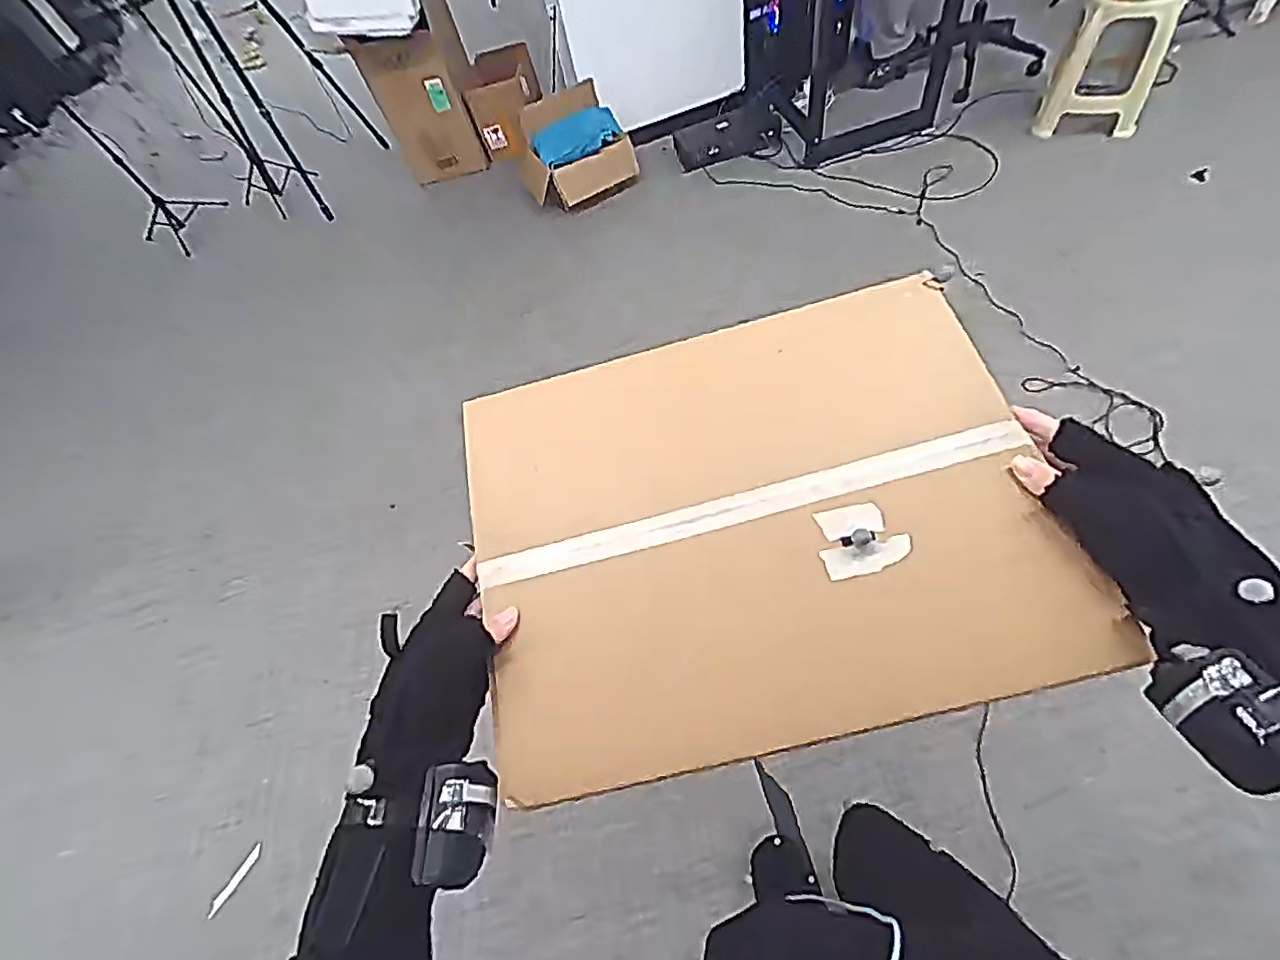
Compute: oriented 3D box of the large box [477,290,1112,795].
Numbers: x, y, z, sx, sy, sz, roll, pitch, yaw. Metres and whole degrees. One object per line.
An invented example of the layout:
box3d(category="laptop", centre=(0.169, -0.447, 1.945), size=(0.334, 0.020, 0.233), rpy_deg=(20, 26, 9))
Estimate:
box3d(category="large box", centre=(0.099, 0.081, 0.547), size=(0.408, 0.320, 0.320), rpy_deg=(-15, 66, 3))
